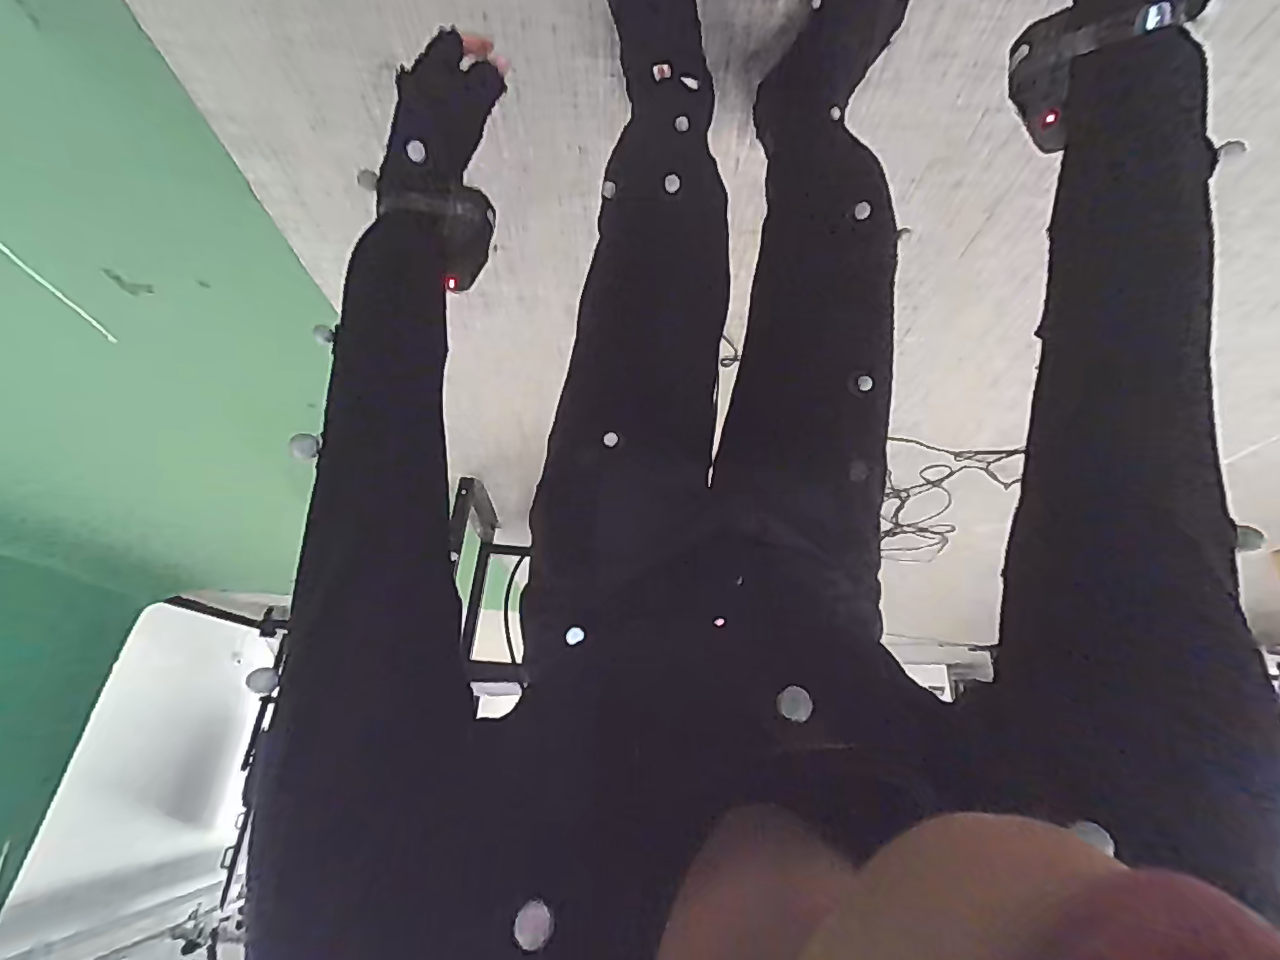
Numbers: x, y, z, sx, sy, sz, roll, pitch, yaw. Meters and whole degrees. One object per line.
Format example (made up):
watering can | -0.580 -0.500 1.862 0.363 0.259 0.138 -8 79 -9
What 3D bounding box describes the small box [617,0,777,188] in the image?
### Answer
small box | 0.065 -0.541 0.749 0.168 0.176 0.179 -9 158 -10
